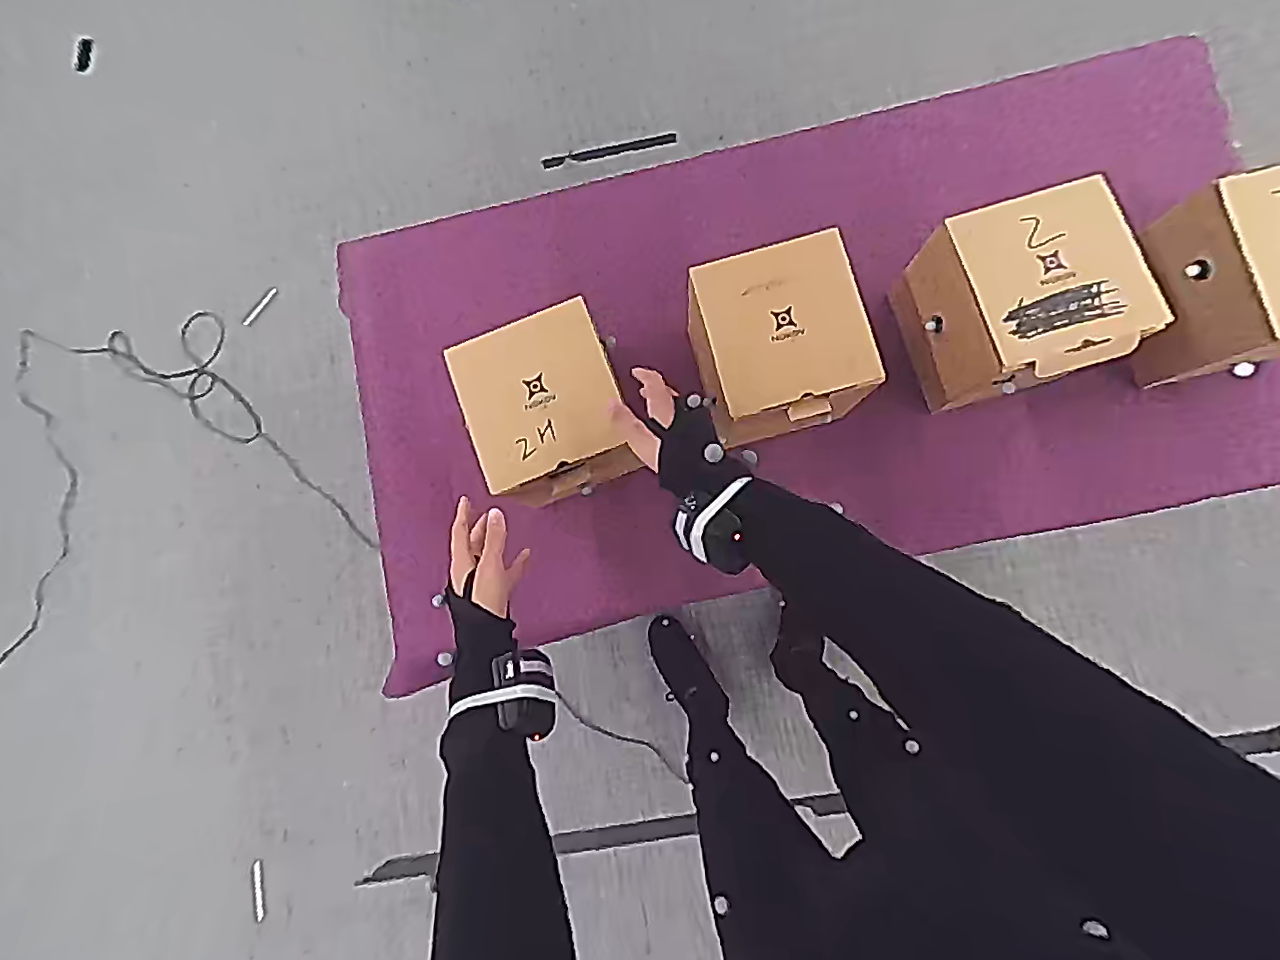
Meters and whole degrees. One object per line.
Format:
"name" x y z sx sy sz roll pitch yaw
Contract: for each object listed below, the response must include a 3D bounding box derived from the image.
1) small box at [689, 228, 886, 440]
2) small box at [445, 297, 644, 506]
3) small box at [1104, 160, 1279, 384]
"small box" 0.158 -0.153 0.637 0.168 0.176 0.179 -14 81 2
"small box" -0.102 -0.080 0.648 0.168 0.176 0.179 -21 82 2
"small box" 0.676 -0.227 0.599 0.168 0.176 0.179 -14 82 4
